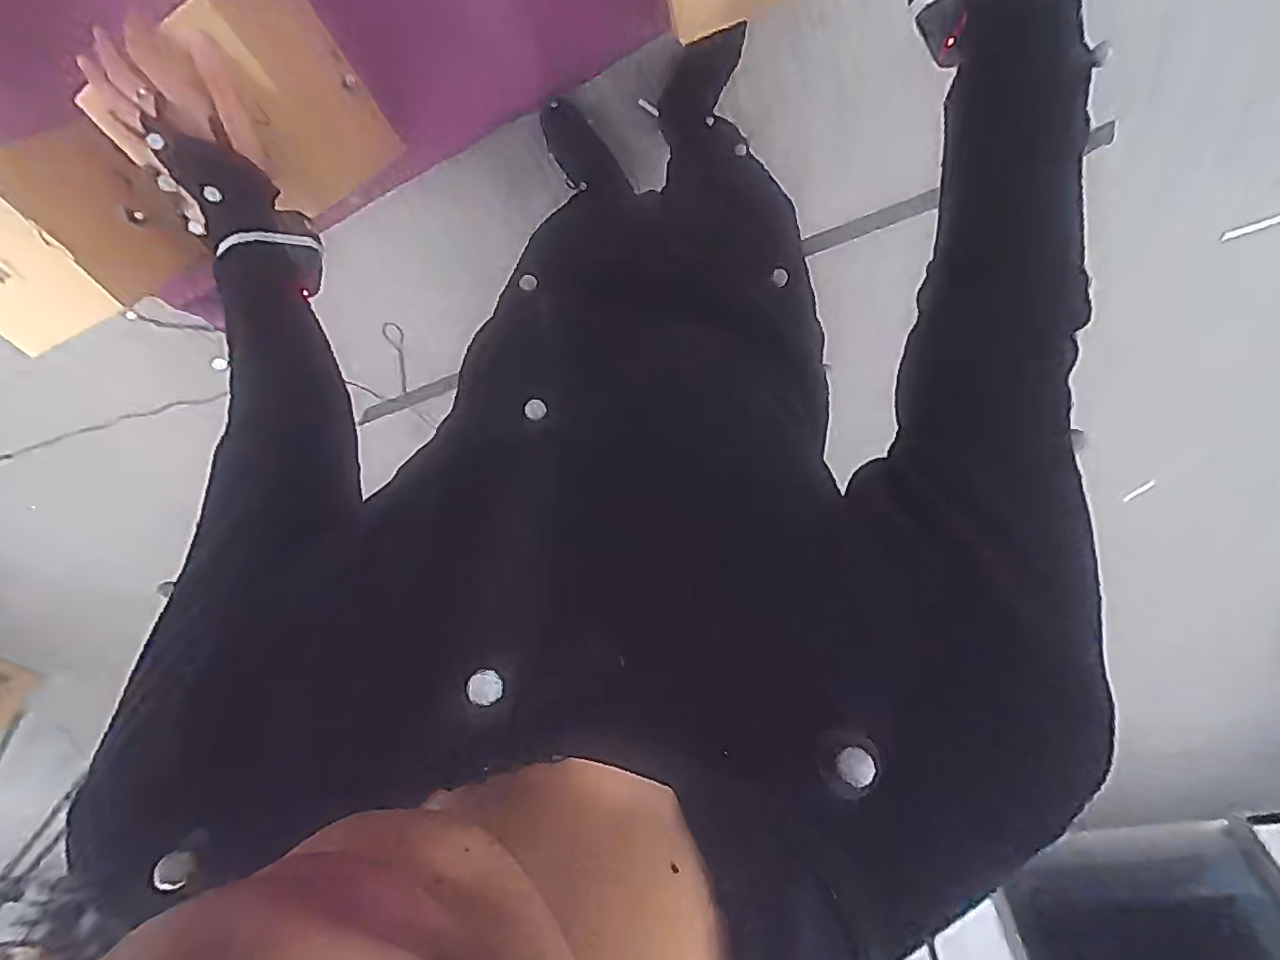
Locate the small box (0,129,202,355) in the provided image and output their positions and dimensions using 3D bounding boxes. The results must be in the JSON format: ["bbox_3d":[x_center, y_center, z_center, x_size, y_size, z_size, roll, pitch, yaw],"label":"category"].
[{"bbox_3d":[-0.692,-0.285,0.648,0.179,0.176,0.168,-17,131,15],"label":"small box"}]
